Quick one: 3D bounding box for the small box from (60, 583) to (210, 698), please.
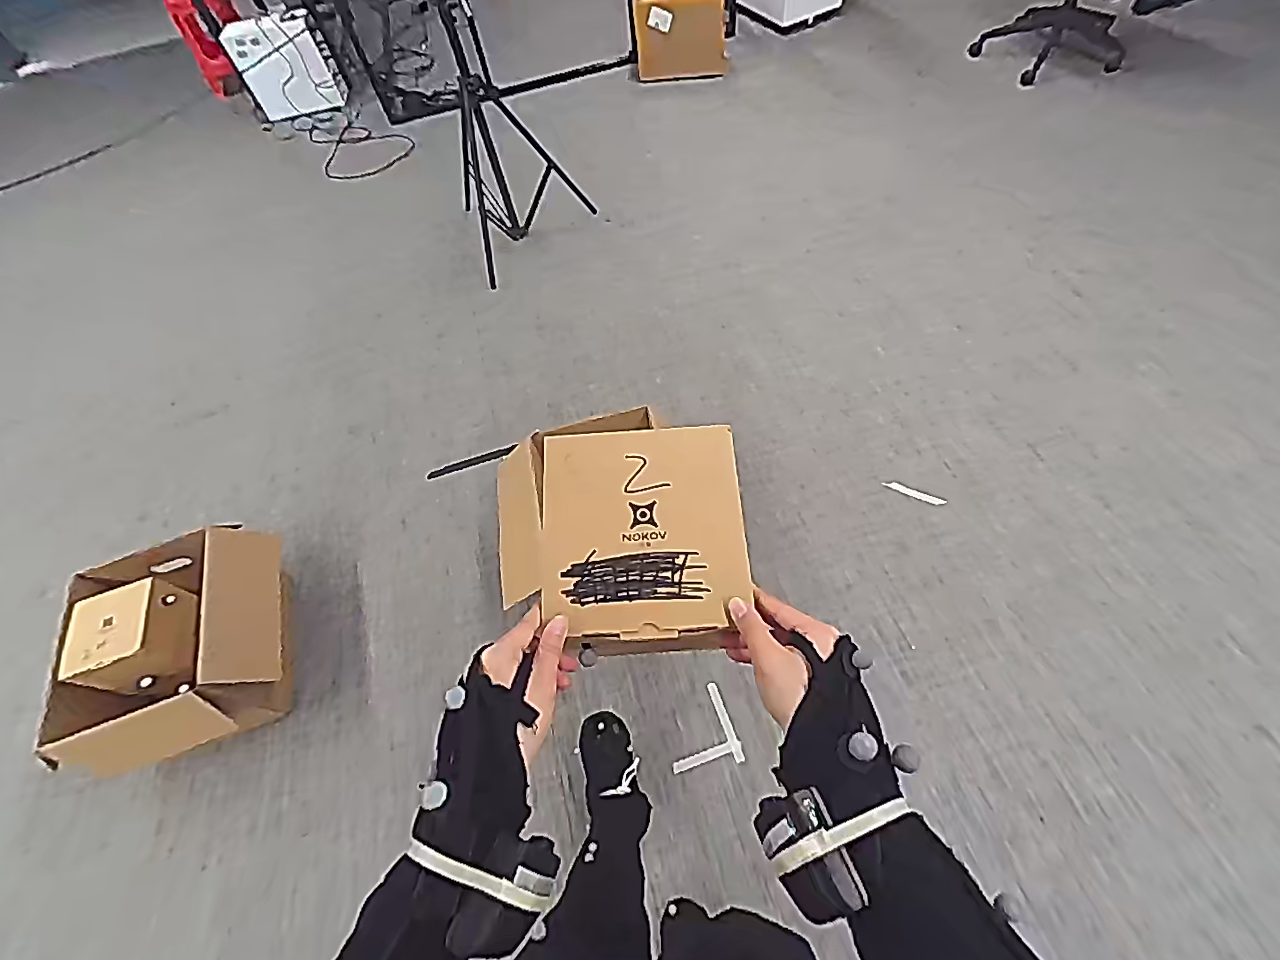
[{"bbox_3d":[-1.102,0.359,1.200,0.168,0.176,0.179,-20,58,-5],"label":"small box"}]
